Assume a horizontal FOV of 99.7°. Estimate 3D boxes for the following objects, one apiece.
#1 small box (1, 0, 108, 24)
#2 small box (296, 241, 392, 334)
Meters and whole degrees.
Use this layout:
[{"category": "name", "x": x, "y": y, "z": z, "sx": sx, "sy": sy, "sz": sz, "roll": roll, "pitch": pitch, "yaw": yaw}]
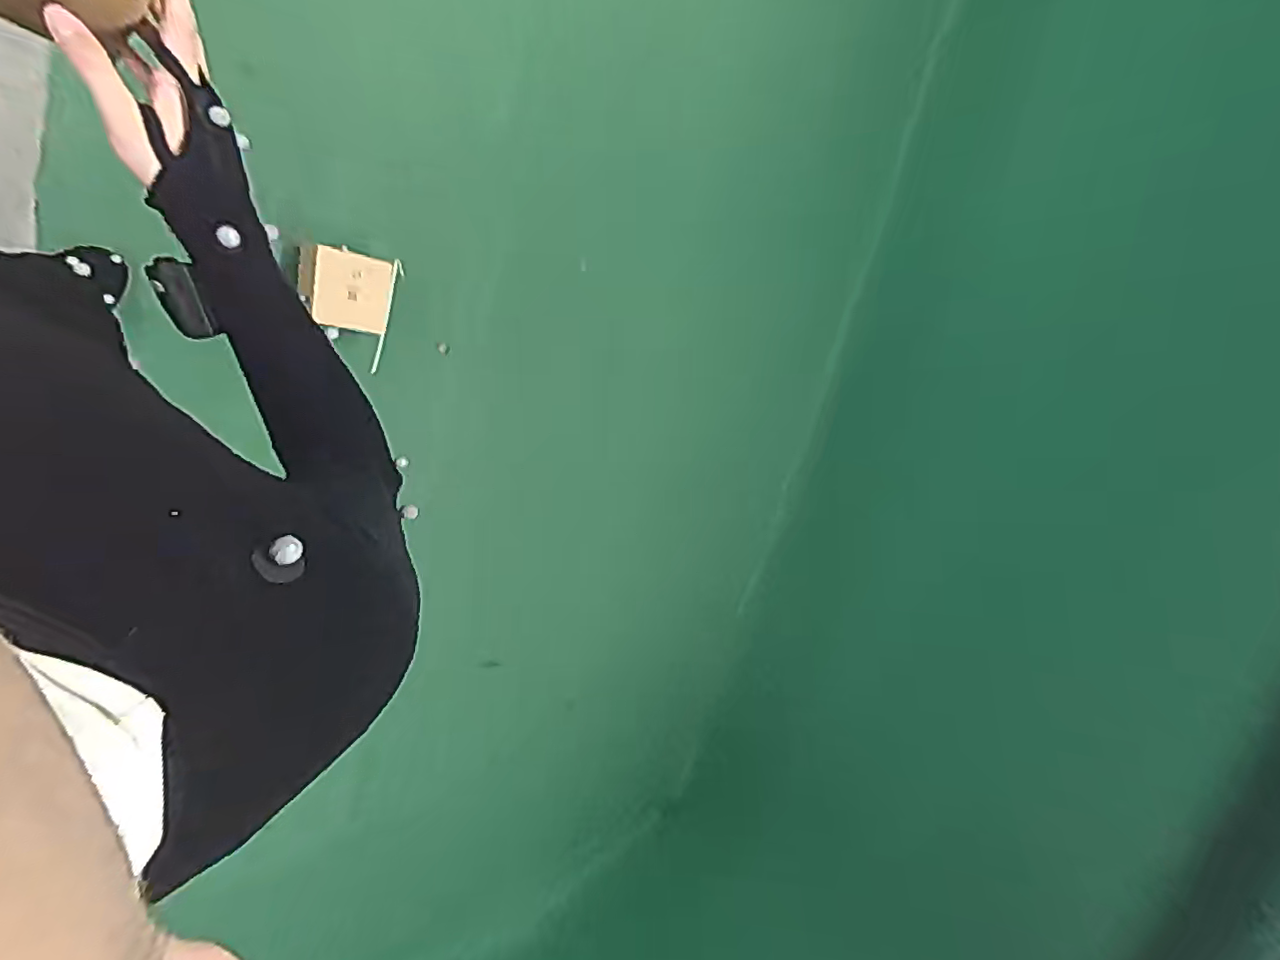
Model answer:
[{"category": "small box", "x": -0.417, "y": -0.416, "z": 0.312, "sx": 0.179, "sy": 0.176, "sz": 0.168, "roll": 5, "pitch": 98, "yaw": -49}, {"category": "small box", "x": -0.738, "y": -0.478, "z": 1.341, "sx": 0.168, "sy": 0.176, "sz": 0.179, "roll": 1, "pitch": 108, "yaw": -45}]
